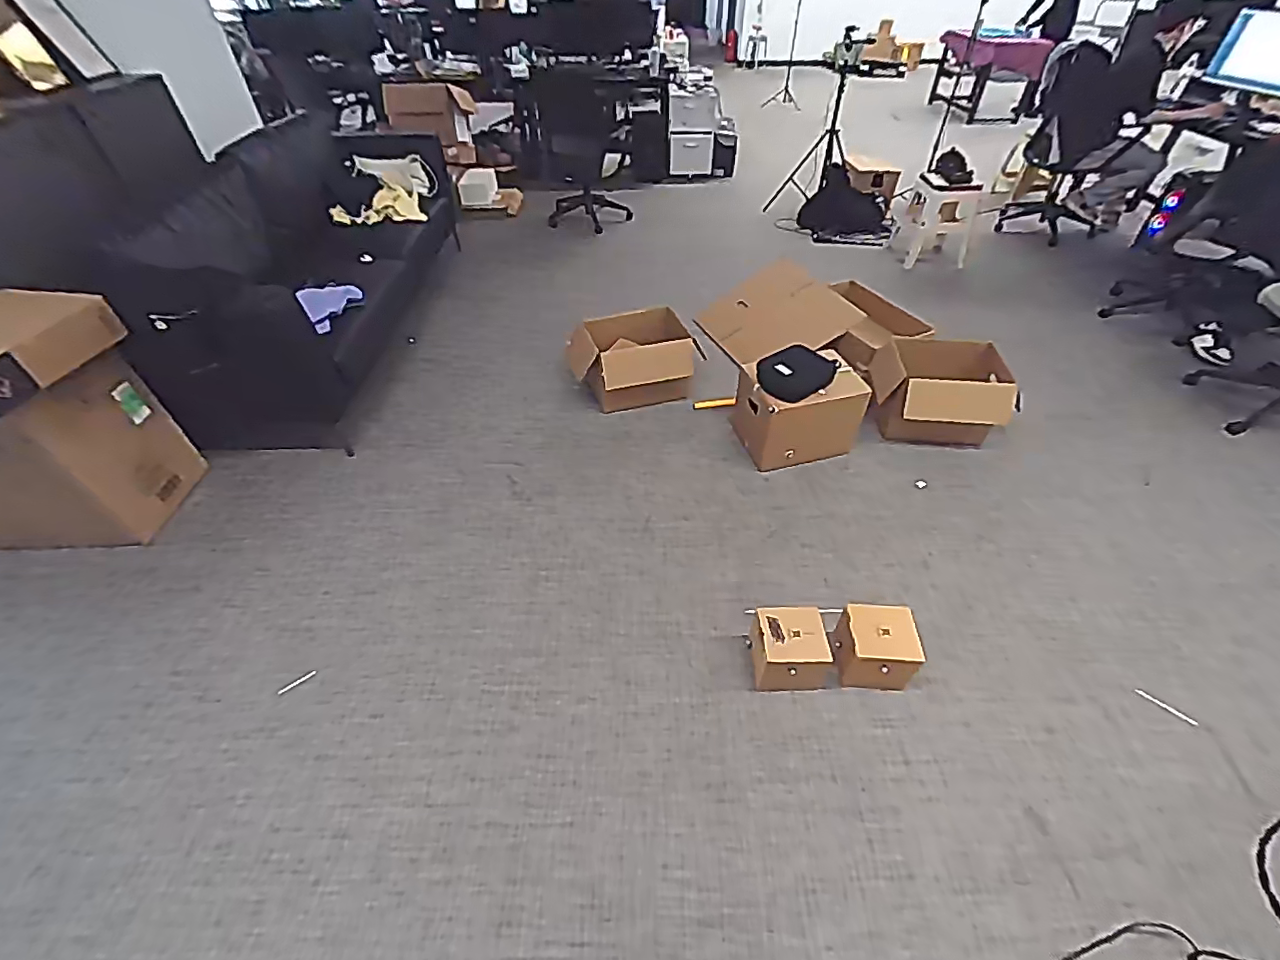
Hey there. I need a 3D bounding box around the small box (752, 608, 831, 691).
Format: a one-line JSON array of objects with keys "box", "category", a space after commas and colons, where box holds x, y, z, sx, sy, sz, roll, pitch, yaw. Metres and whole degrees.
[{"box": [0.413, 0.476, 1.511, 0.179, 0.176, 0.168, -1, 44, 0], "category": "small box"}]

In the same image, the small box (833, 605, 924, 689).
[{"box": [0.658, 0.469, 1.512, 0.179, 0.176, 0.168, 2, 45, 5], "category": "small box"}]
